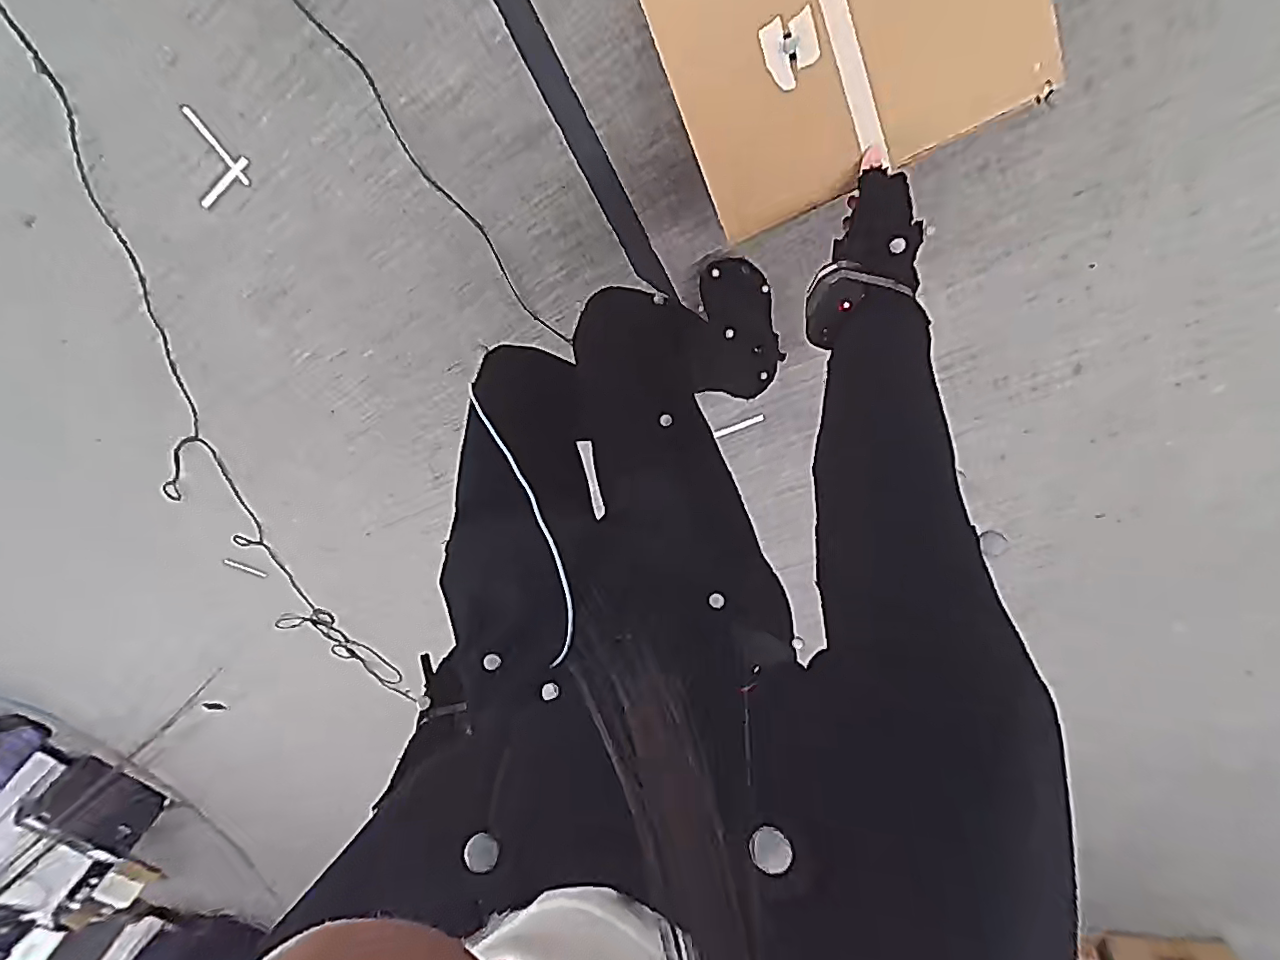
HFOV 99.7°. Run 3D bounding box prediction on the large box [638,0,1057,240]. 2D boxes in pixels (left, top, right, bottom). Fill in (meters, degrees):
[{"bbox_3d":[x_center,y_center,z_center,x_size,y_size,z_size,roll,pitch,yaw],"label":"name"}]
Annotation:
[{"bbox_3d":[0.187,-0.536,0.611,0.320,0.320,0.408,-18,108,22],"label":"large box"}]
